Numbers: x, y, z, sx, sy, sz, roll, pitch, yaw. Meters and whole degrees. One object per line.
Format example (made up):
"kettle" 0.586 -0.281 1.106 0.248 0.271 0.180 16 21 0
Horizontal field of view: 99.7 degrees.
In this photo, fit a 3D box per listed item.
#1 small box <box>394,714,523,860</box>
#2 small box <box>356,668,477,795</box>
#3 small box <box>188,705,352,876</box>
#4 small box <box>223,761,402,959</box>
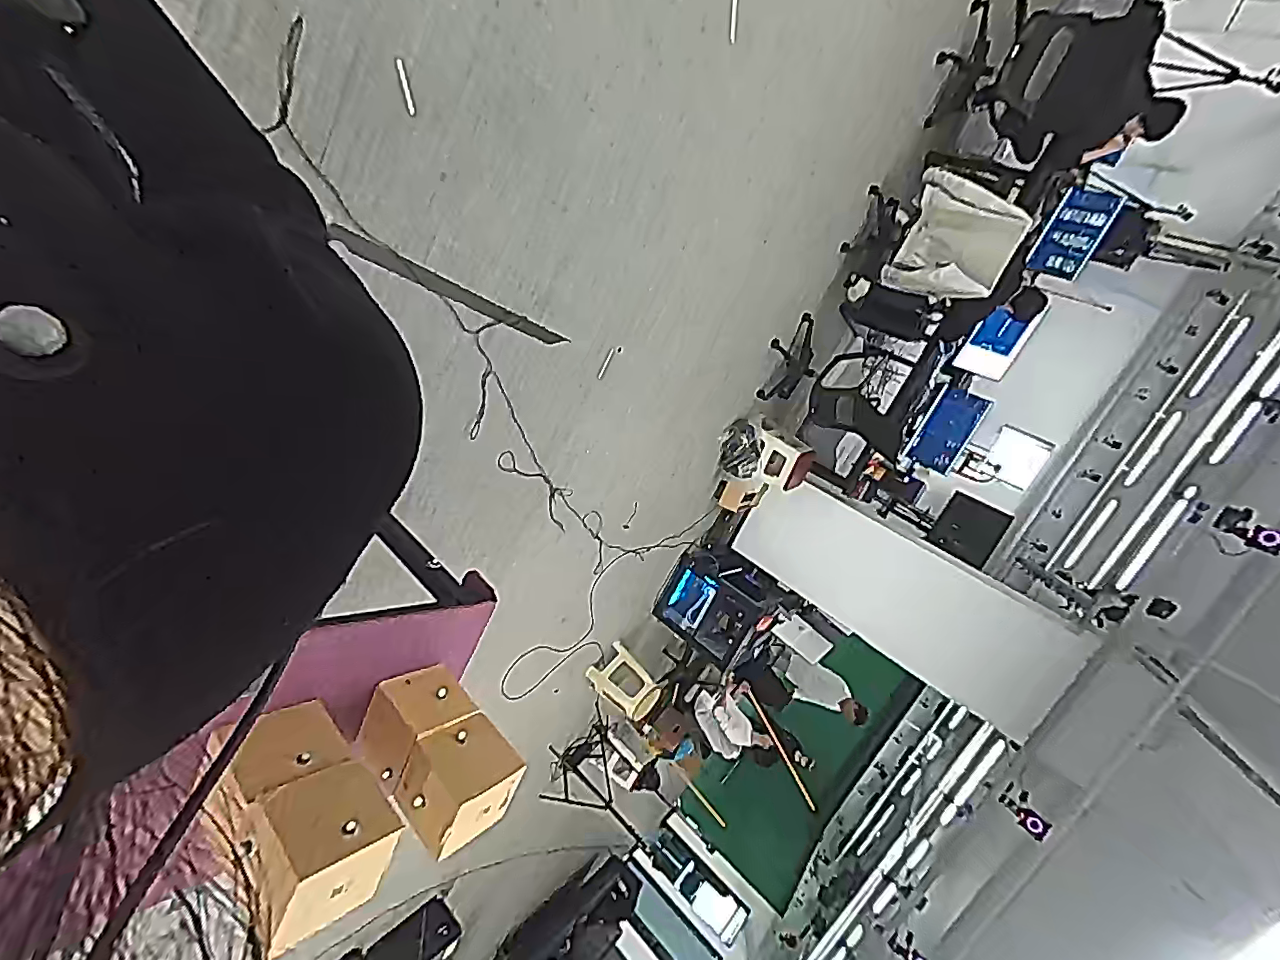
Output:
"small box" -0.389 0.639 1.147 0.179 0.176 0.168 -1 121 -56
"small box" -0.508 0.552 1.219 0.168 0.176 0.179 2 119 -57
"small box" -0.661 0.537 0.968 0.179 0.176 0.168 5 115 -57
"small box" -0.537 0.604 0.889 0.179 0.176 0.168 9 110 -58
